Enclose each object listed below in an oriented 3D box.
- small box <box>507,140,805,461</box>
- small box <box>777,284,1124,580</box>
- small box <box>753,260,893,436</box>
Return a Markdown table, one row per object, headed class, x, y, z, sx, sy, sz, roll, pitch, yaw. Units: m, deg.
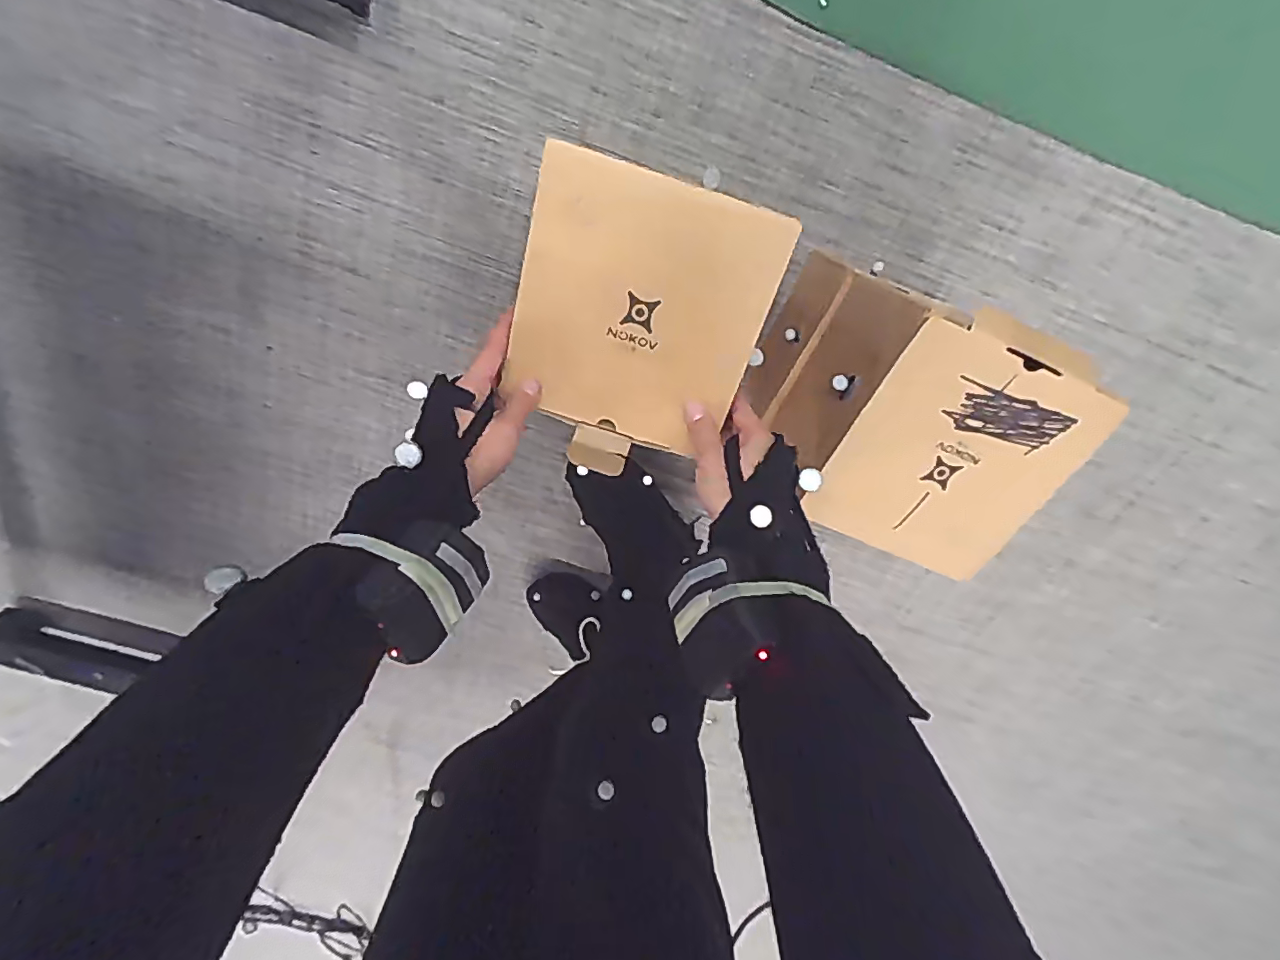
| class | x | y | z | sx | sy | sz | roll | pitch | yaw |
| --- | --- | --- | --- | --- | --- | --- | --- | --- | --- |
| small box | 0.007 | -0.146 | 0.440 | 0.168 | 0.176 | 0.179 | 16 | 118 | -4 |
| small box | 0.237 | -0.052 | 0.475 | 0.168 | 0.176 | 0.179 | 23 | 118 | -6 |
| small box | 0.242 | -0.132 | 0.619 | 0.168 | 0.176 | 0.179 | 23 | 119 | -7 |
